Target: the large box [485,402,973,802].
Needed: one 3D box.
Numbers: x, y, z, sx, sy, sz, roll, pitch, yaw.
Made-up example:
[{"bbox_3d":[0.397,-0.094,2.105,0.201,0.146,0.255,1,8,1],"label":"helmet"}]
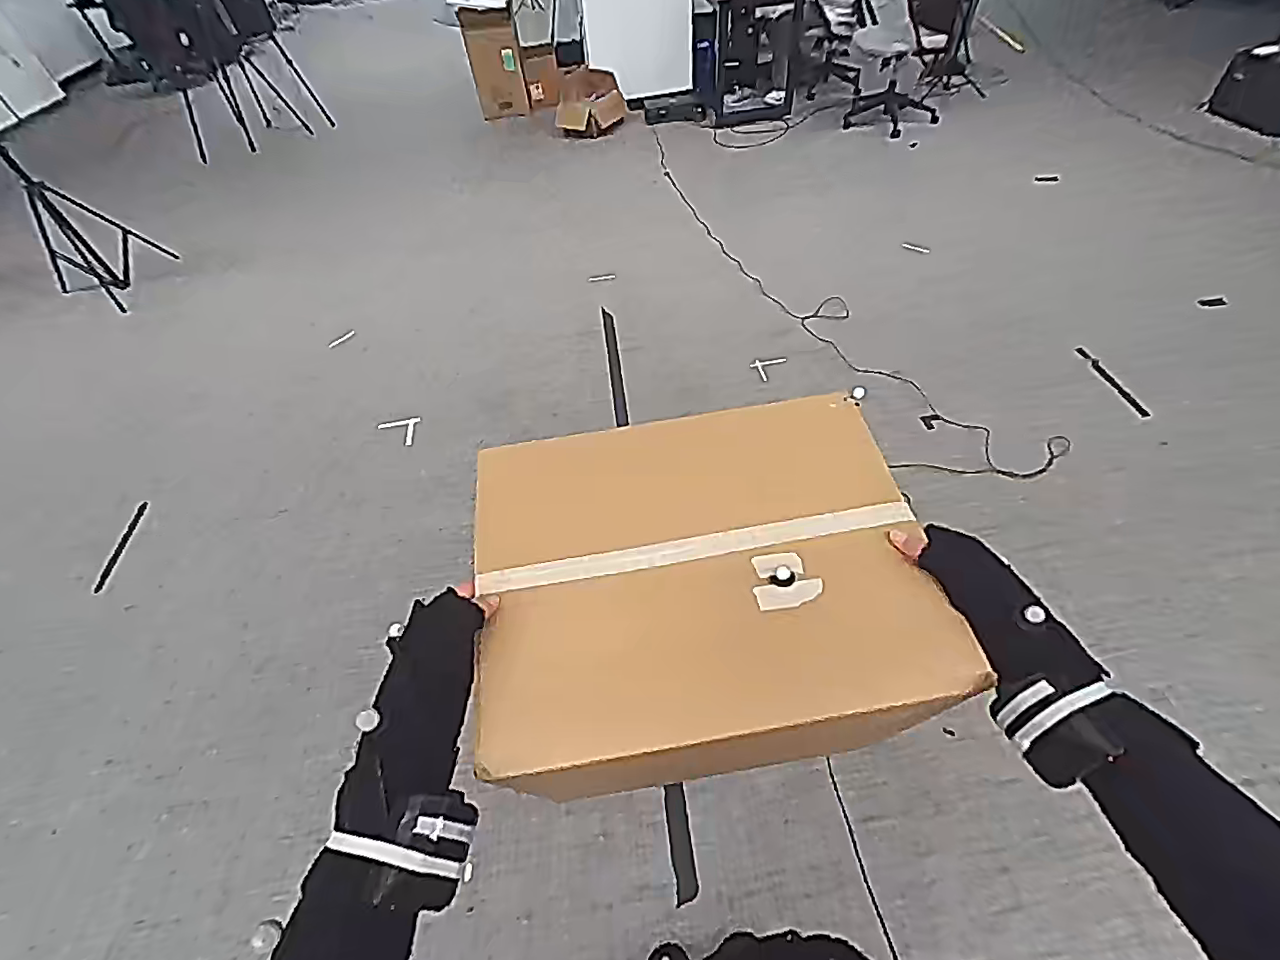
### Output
[{"bbox_3d":[0.059,0.153,0.630,0.408,0.320,0.320,-9,56,-2],"label":"large box"}]
